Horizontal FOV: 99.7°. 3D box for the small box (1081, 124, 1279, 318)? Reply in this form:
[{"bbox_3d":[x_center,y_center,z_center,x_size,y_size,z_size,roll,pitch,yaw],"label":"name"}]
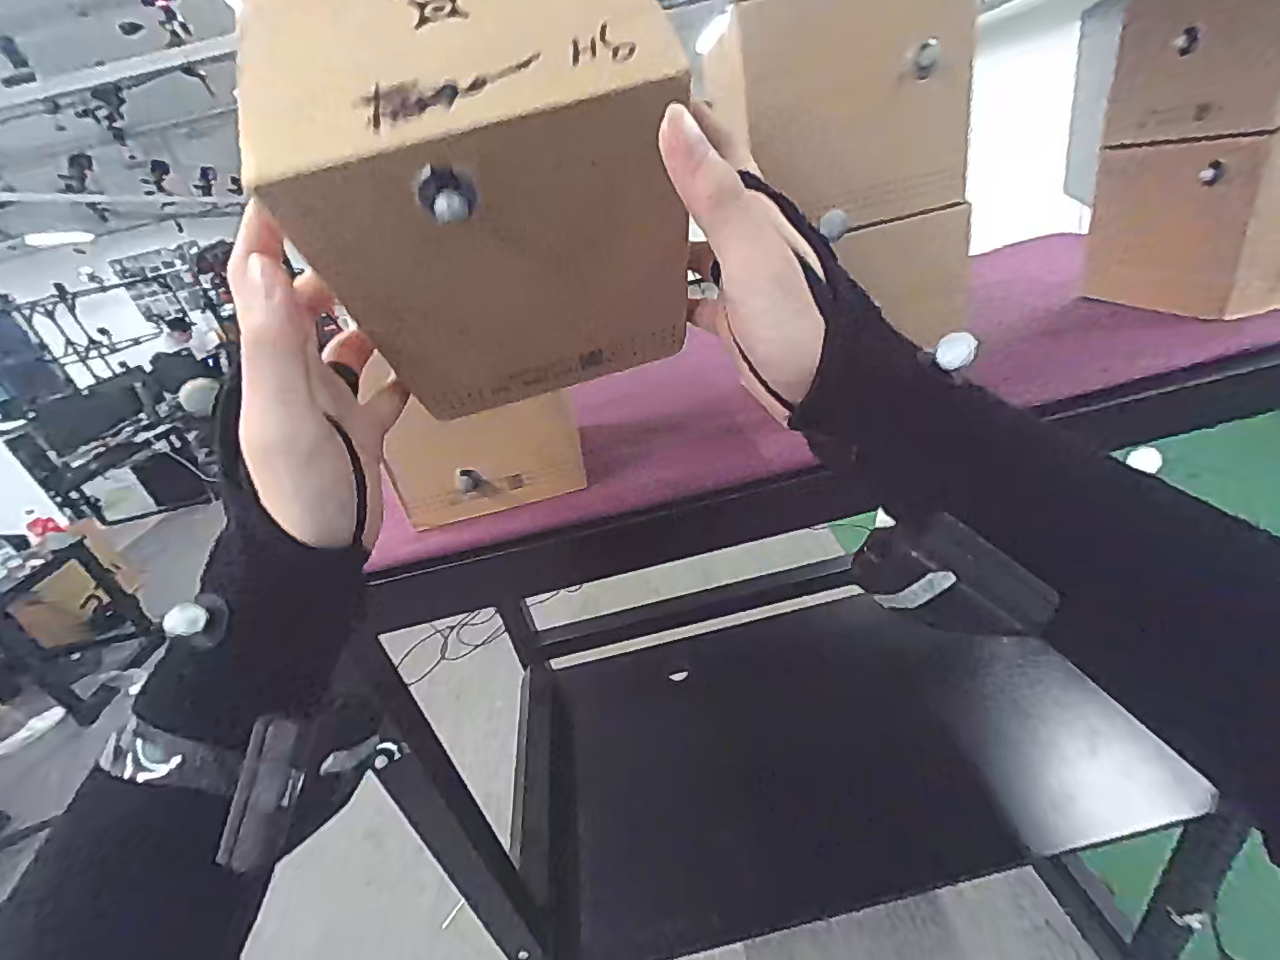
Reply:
[{"bbox_3d":[0.615,-0.280,0.566,0.168,0.176,0.179,-14,29,0],"label":"small box"}]

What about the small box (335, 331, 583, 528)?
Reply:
[{"bbox_3d":[-0.159,-0.077,0.539,0.168,0.176,0.179,-15,27,-2],"label":"small box"}]

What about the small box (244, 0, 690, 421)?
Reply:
[{"bbox_3d":[-0.076,-0.162,0.300,0.168,0.176,0.179,-17,67,-1],"label":"small box"}]

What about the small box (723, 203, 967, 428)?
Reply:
[{"bbox_3d":[0.197,-0.172,0.554,0.179,0.176,0.168,-14,26,1],"label":"small box"}]

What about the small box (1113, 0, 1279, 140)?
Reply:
[{"bbox_3d":[0.574,-0.416,0.482,0.179,0.176,0.168,-14,29,0],"label":"small box"}]
